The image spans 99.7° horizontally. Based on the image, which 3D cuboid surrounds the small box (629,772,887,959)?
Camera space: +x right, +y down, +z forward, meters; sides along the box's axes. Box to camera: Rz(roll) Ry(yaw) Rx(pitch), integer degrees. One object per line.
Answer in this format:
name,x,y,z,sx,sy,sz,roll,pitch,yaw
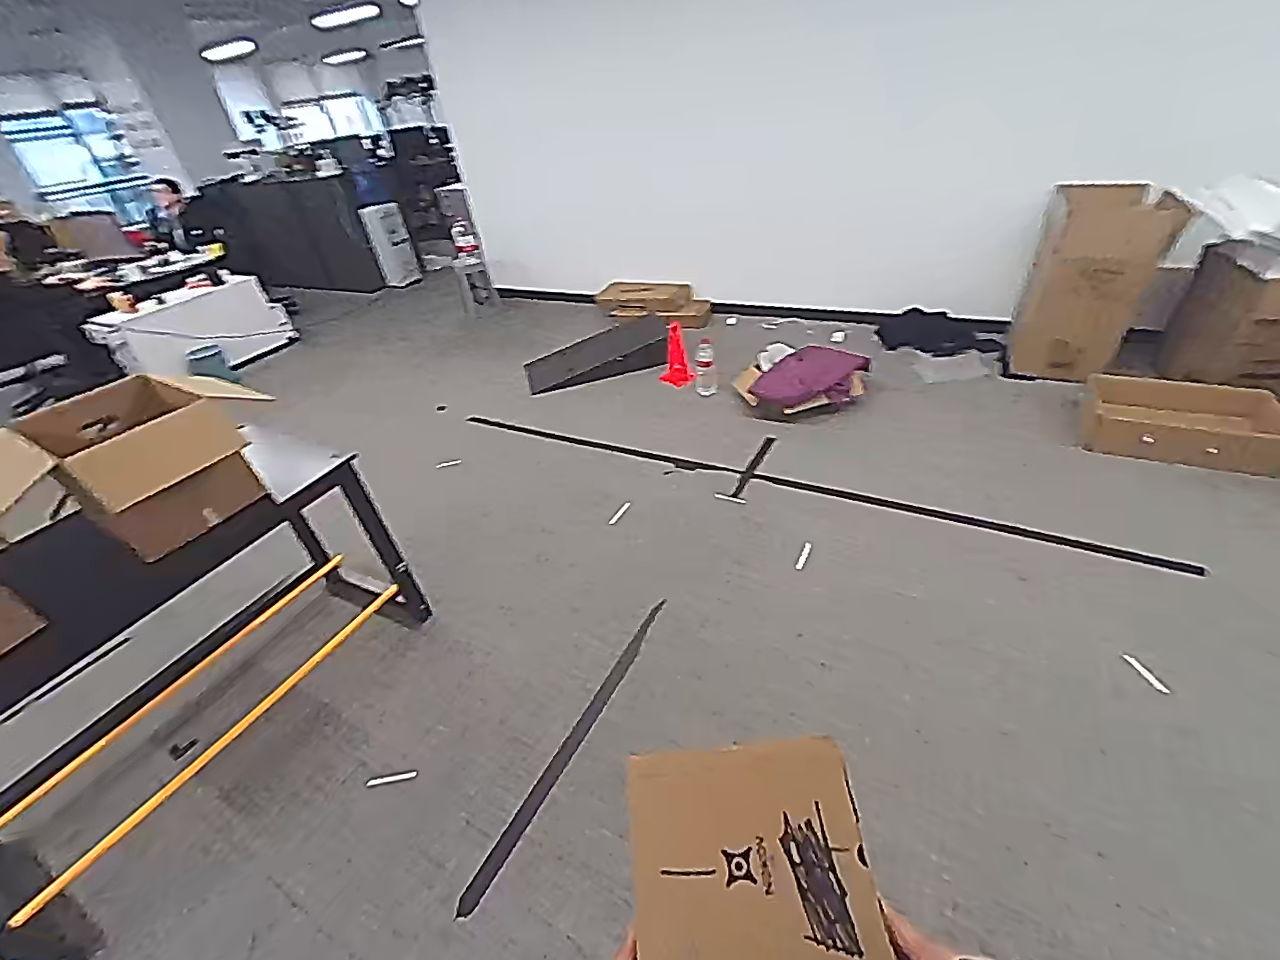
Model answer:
small box,0.087,0.359,0.460,0.179,0.176,0.168,-6,53,1
